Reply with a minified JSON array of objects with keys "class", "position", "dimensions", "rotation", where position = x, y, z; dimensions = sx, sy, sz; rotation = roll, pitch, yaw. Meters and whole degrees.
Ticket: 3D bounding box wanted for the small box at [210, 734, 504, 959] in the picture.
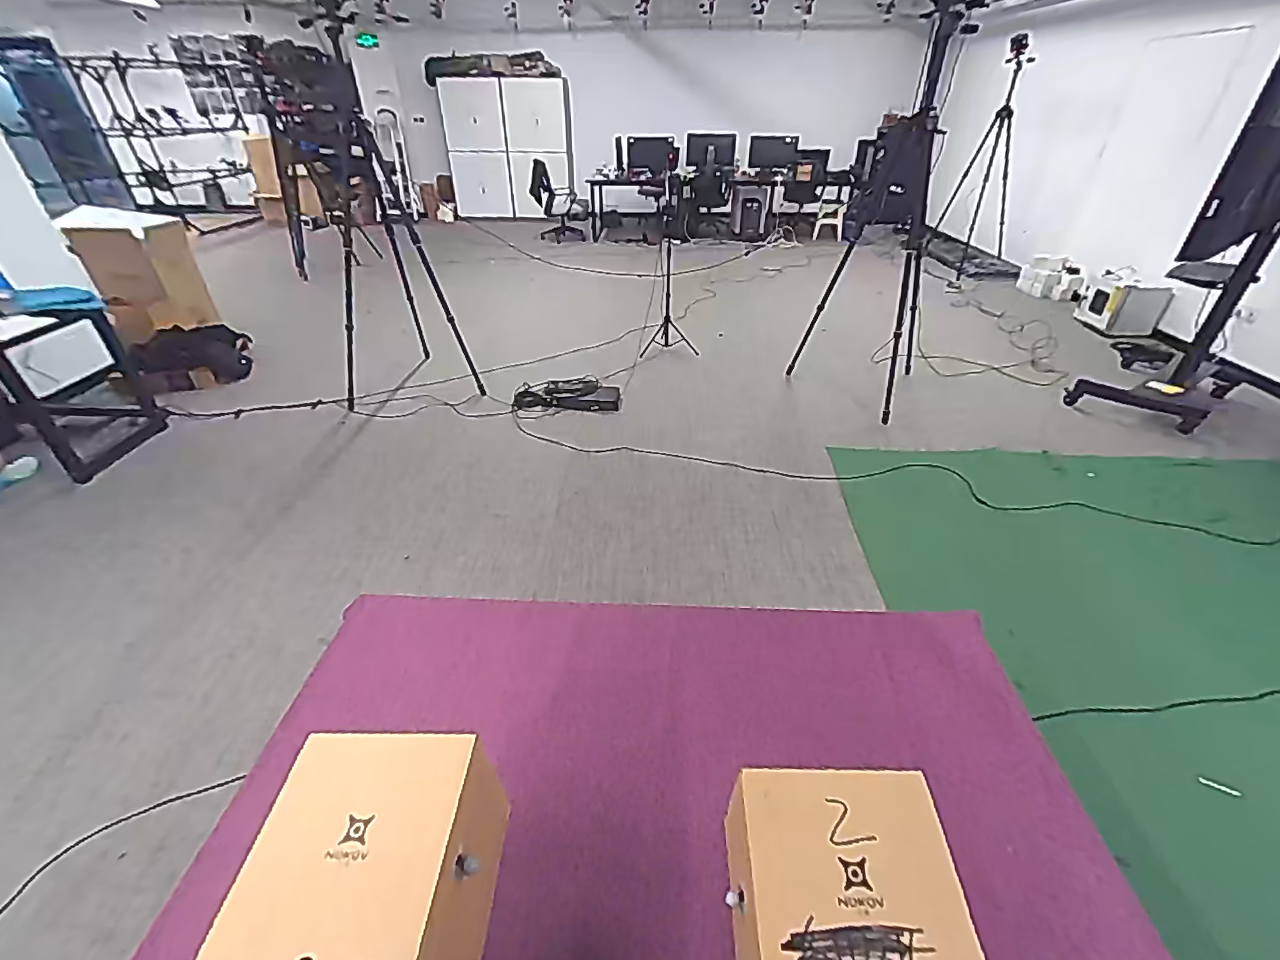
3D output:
[{"class":"small box","position":[-0.237,0.368,0.515],"dimensions":[0.168,0.176,0.179],"rotation":[-1,39,3]}]
